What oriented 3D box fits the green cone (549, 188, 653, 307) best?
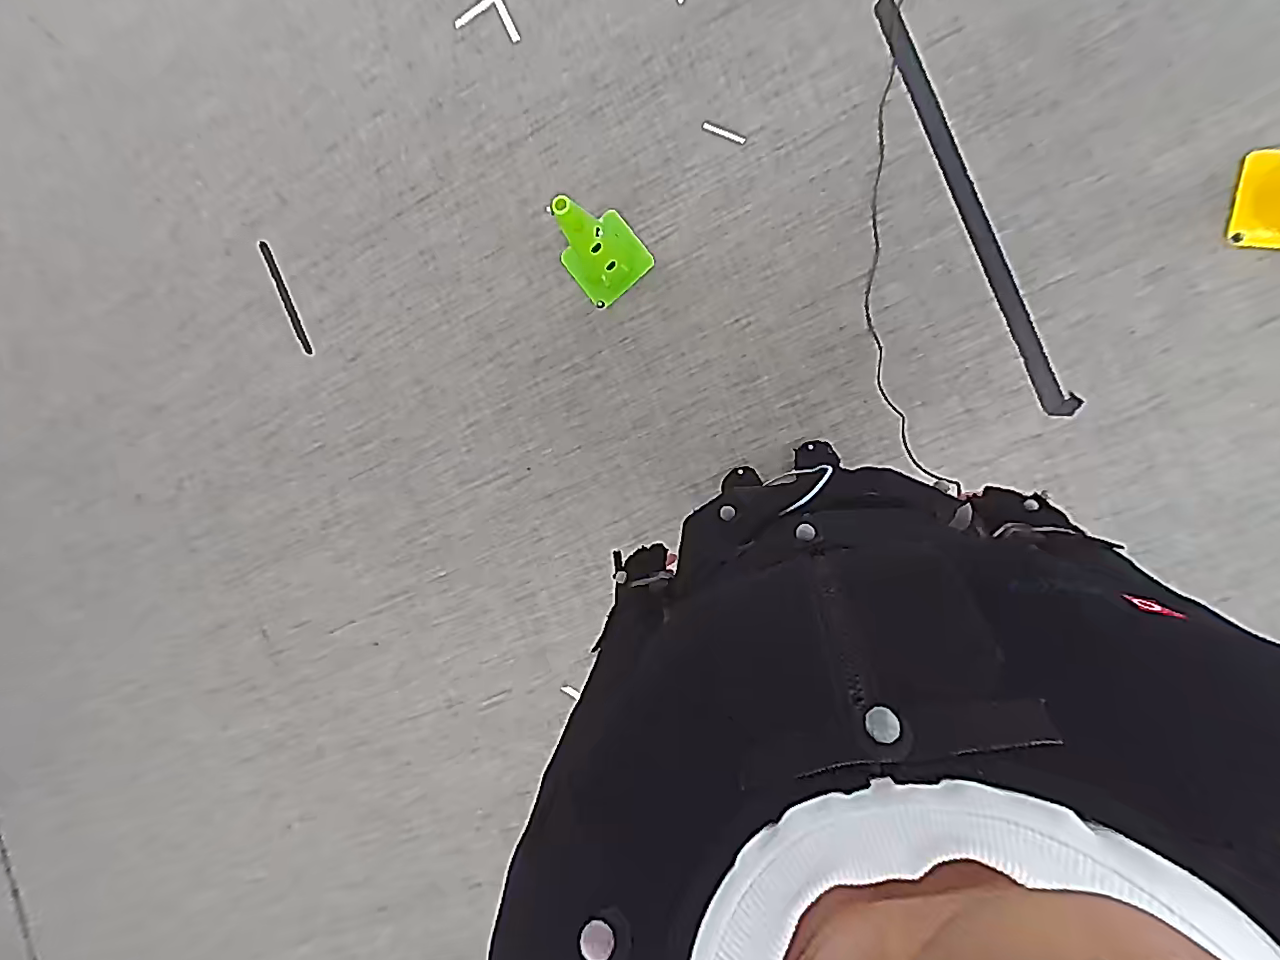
[{"bbox_3d":[-0.128,-0.592,1.298,0.200,0.368,0.202,-39,84,11],"label":"green cone"}]
